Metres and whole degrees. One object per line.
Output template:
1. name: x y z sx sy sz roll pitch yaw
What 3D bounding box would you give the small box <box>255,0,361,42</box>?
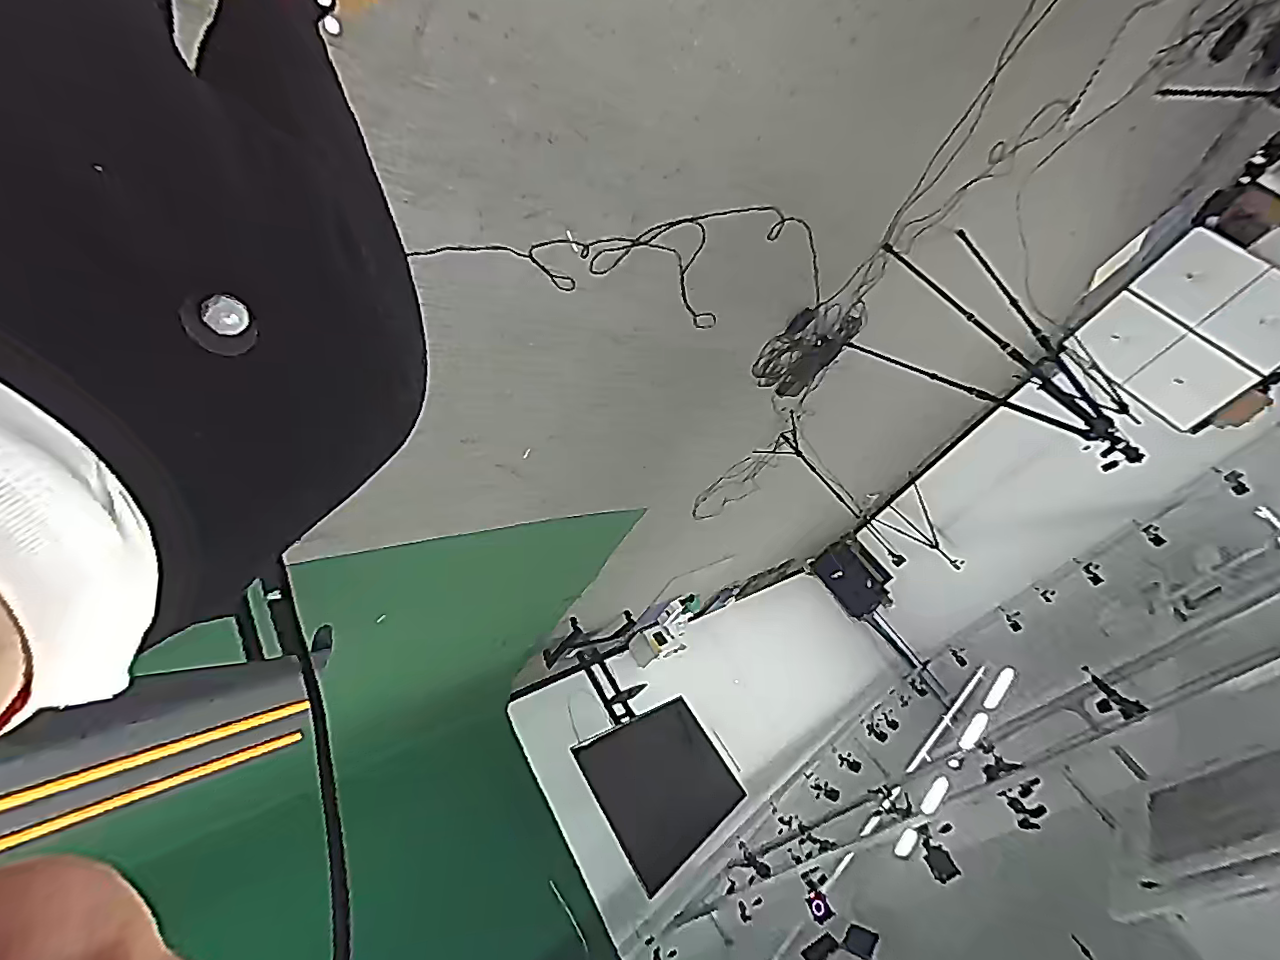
1. small box: -0.390 -0.649 0.601 0.168 0.176 0.179 26 75 -54
